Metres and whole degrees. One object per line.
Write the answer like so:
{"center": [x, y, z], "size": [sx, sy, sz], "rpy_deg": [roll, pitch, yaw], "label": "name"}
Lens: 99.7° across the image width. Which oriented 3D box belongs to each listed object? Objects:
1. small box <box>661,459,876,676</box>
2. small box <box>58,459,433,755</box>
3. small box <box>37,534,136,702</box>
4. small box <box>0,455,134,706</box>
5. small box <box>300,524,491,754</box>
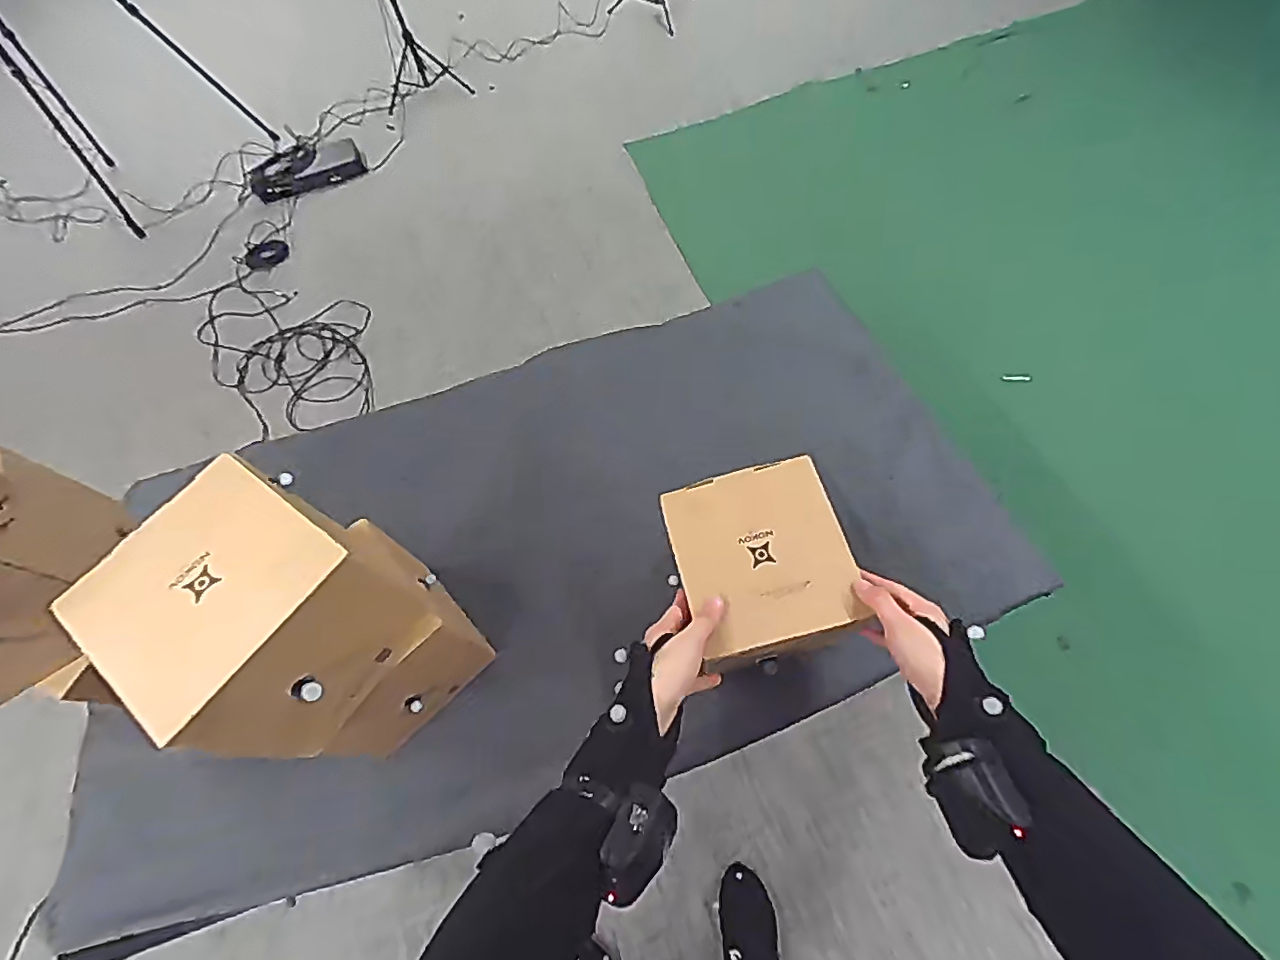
{"center": [0.128, 0.105, 0.596], "size": [0.168, 0.176, 0.179], "rpy_deg": [-16, 66, 3], "label": "small box"}
{"center": [-0.325, 0.117, 0.482], "size": [0.179, 0.176, 0.168], "rpy_deg": [29, 69, 21], "label": "small box"}
{"center": [-0.628, 0.171, 0.677], "size": [0.179, 0.176, 0.168], "rpy_deg": [17, 65, 15], "label": "small box"}
{"center": [-0.643, 0.096, 0.530], "size": [0.179, 0.176, 0.168], "rpy_deg": [-36, 64, -12], "label": "small box"}
{"center": [-0.304, 0.188, 0.627], "size": [0.168, 0.176, 0.179], "rpy_deg": [-42, 64, -16], "label": "small box"}
